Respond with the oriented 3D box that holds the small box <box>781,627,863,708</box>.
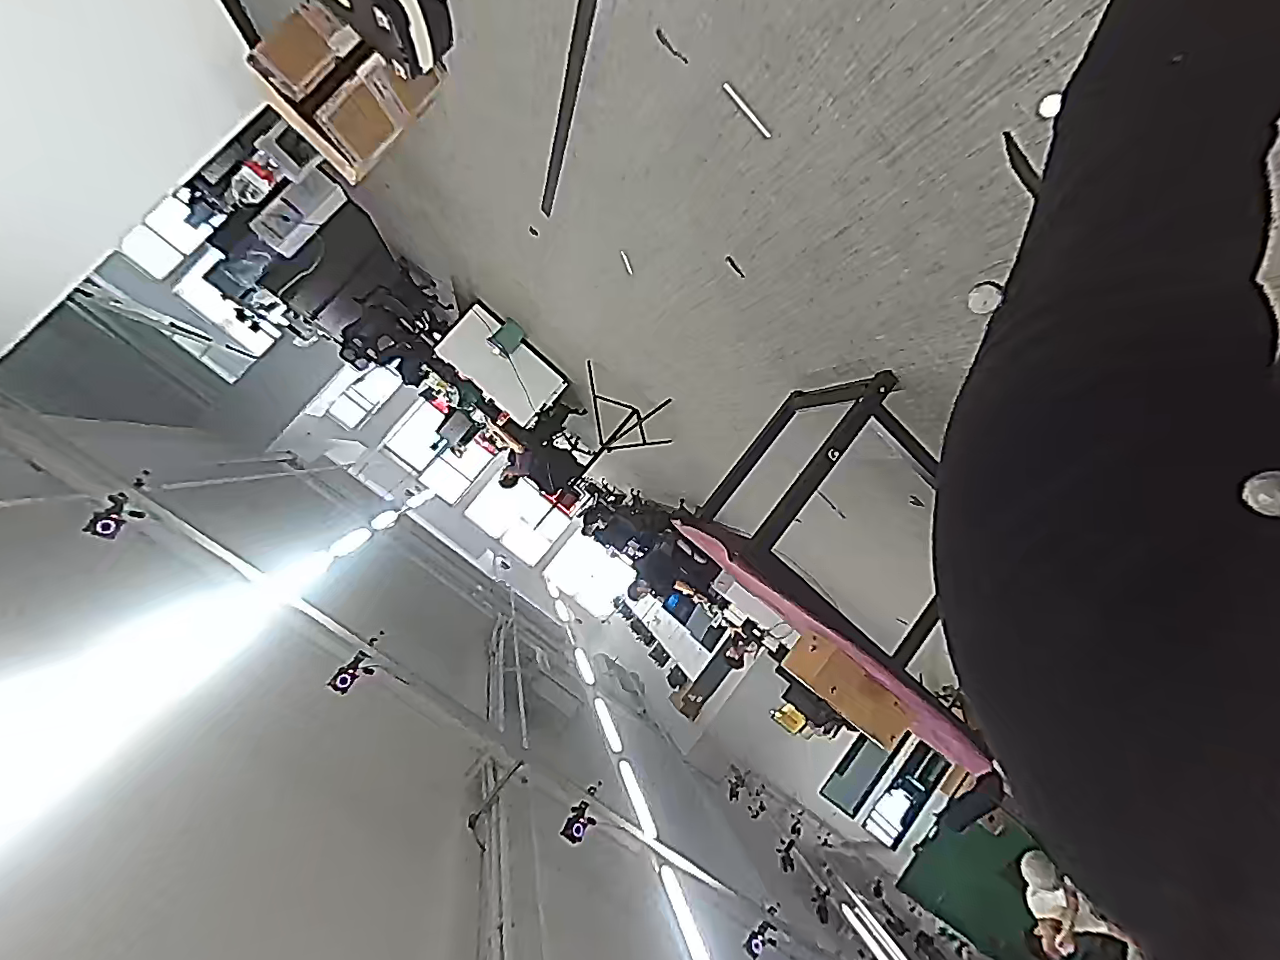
[{"bbox_3d":[0.638,0.649,1.886,0.179,0.176,0.168,42,172,-21],"label":"small box"}]
